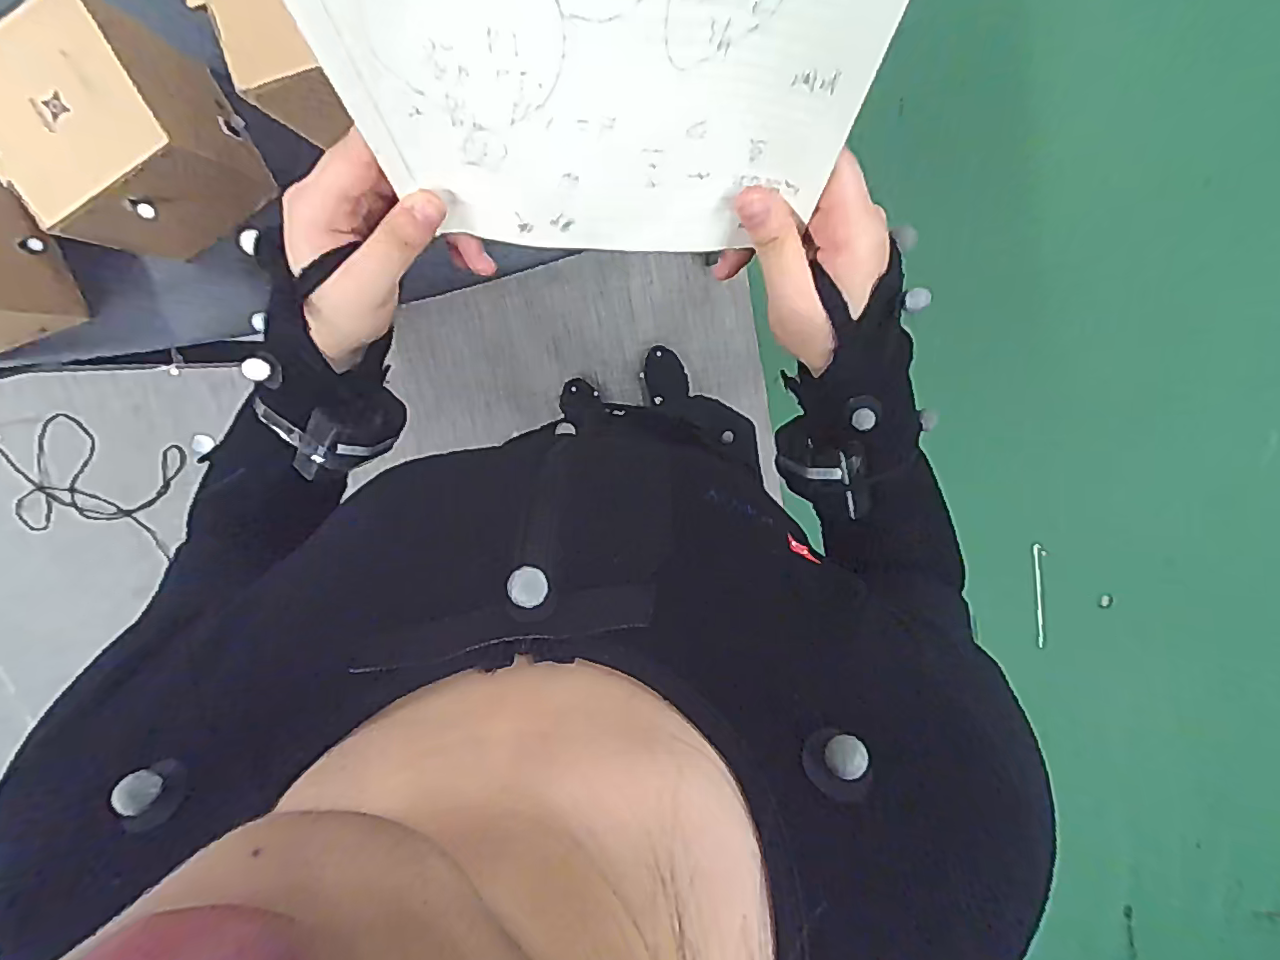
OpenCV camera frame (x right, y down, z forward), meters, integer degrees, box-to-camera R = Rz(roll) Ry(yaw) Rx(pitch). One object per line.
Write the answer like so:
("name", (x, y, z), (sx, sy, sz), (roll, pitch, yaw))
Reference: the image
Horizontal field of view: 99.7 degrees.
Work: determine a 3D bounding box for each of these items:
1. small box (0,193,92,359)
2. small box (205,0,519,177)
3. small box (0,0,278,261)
("small box", (-0.850, -0.254, 0.656), (0.168, 0.176, 0.179), (-17, 101, 6))
("small box", (-0.209, -0.373, 0.431), (0.179, 0.176, 0.168), (-13, 101, 6))
("small box", (-0.575, -0.376, 0.617), (0.179, 0.176, 0.168), (-28, 100, 8))
